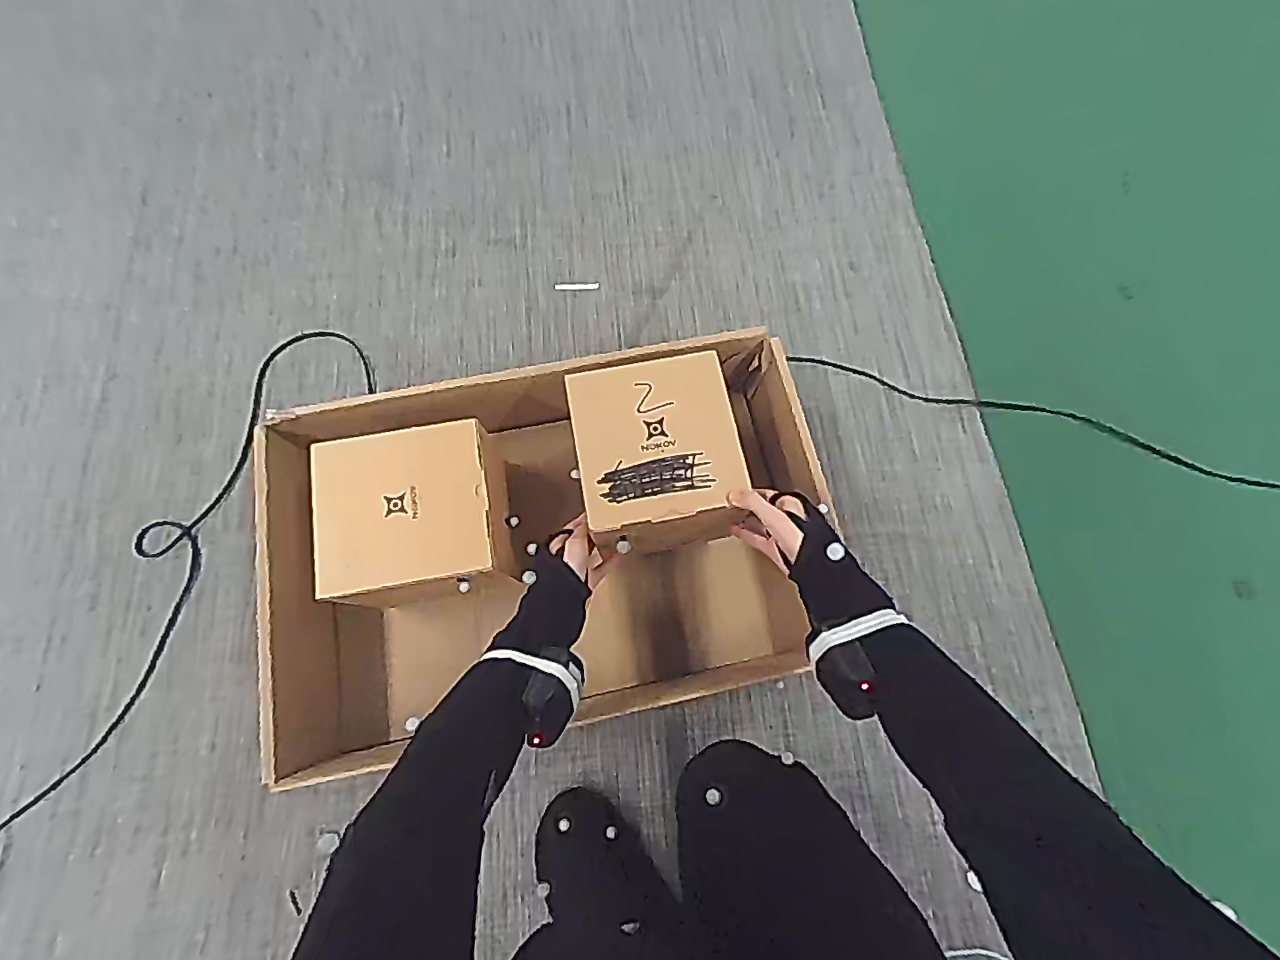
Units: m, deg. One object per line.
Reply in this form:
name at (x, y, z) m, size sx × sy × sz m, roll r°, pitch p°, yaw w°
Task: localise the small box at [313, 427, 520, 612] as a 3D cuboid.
small box at (-0.251, 0.055, 0.635) m, size 0.179 × 0.176 × 0.168 m, roll -10°, pitch 74°, yaw -6°
